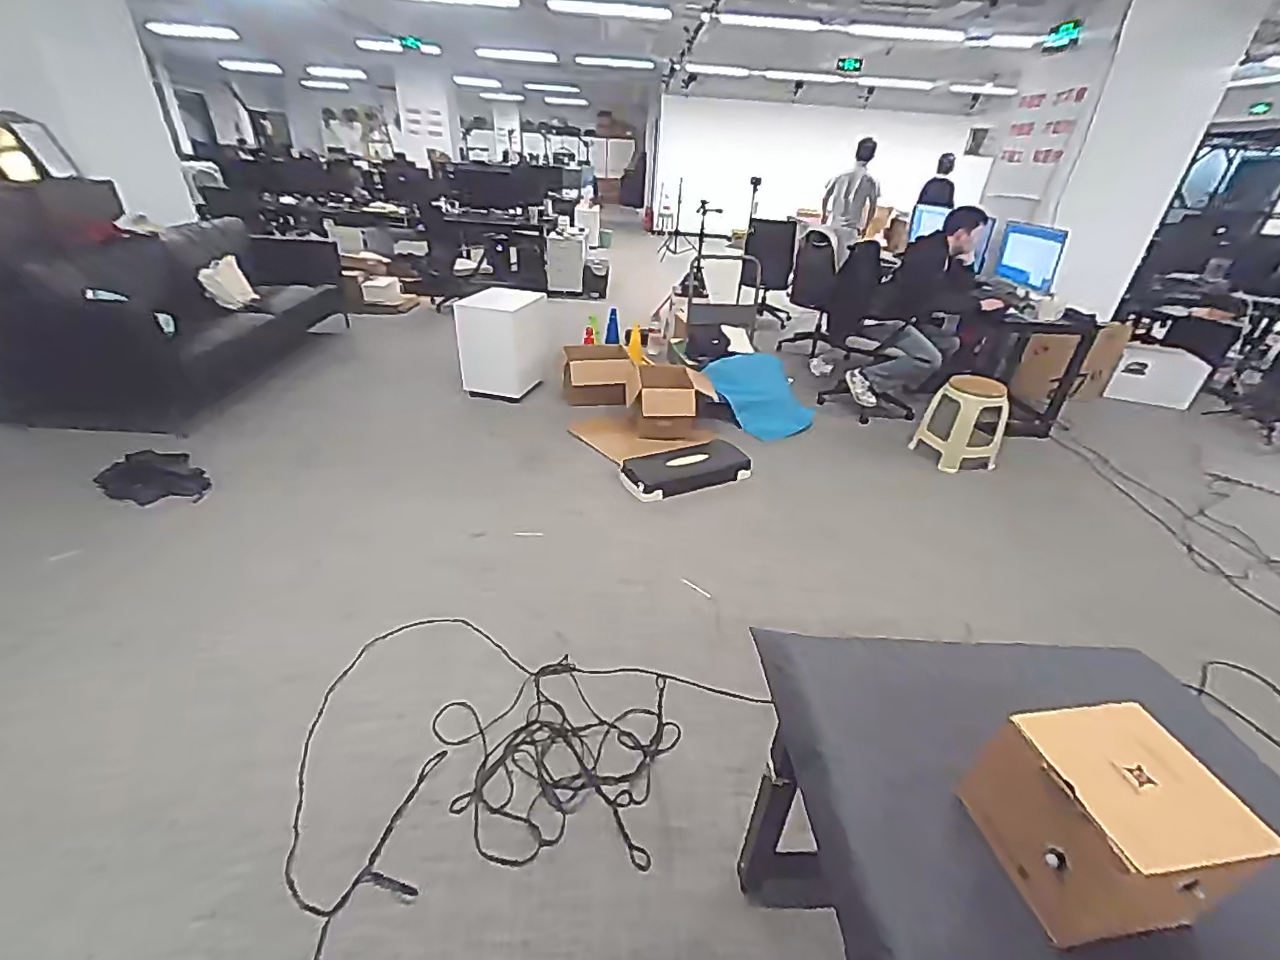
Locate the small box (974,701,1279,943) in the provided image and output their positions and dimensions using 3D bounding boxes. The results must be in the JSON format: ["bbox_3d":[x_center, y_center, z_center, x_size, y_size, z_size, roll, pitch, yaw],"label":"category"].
[{"bbox_3d":[0.511,0.375,0.600,0.179,0.176,0.168,0,32,-10],"label":"small box"}]
